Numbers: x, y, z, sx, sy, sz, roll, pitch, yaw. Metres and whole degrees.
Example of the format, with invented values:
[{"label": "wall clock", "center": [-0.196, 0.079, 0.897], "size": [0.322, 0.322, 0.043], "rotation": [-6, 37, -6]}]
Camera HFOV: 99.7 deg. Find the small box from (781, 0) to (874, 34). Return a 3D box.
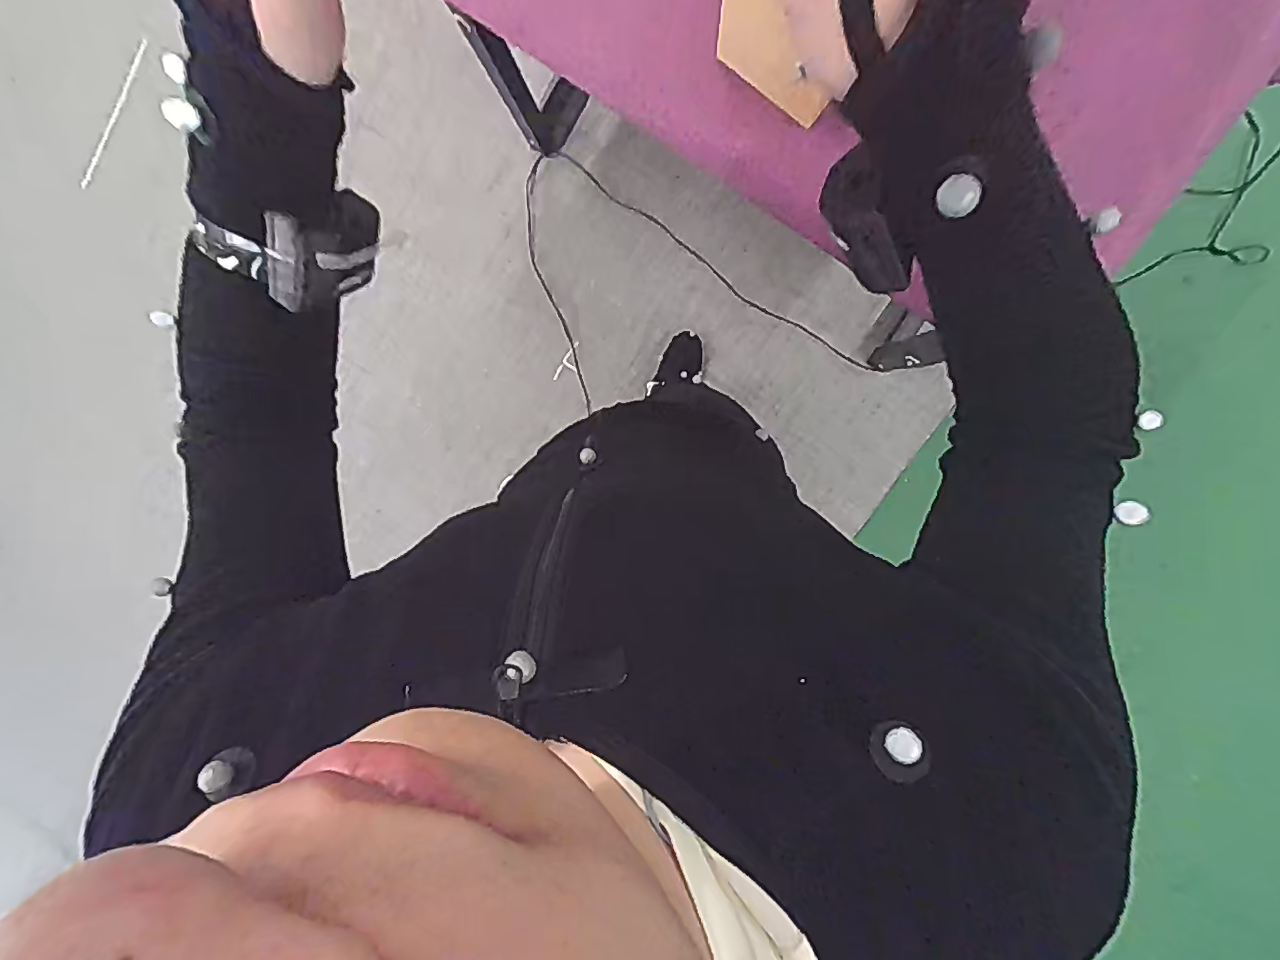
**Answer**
[{"label": "small box", "center": [0.212, -0.609, 0.542], "size": [0.179, 0.176, 0.168], "rotation": [38, 98, -1]}]
